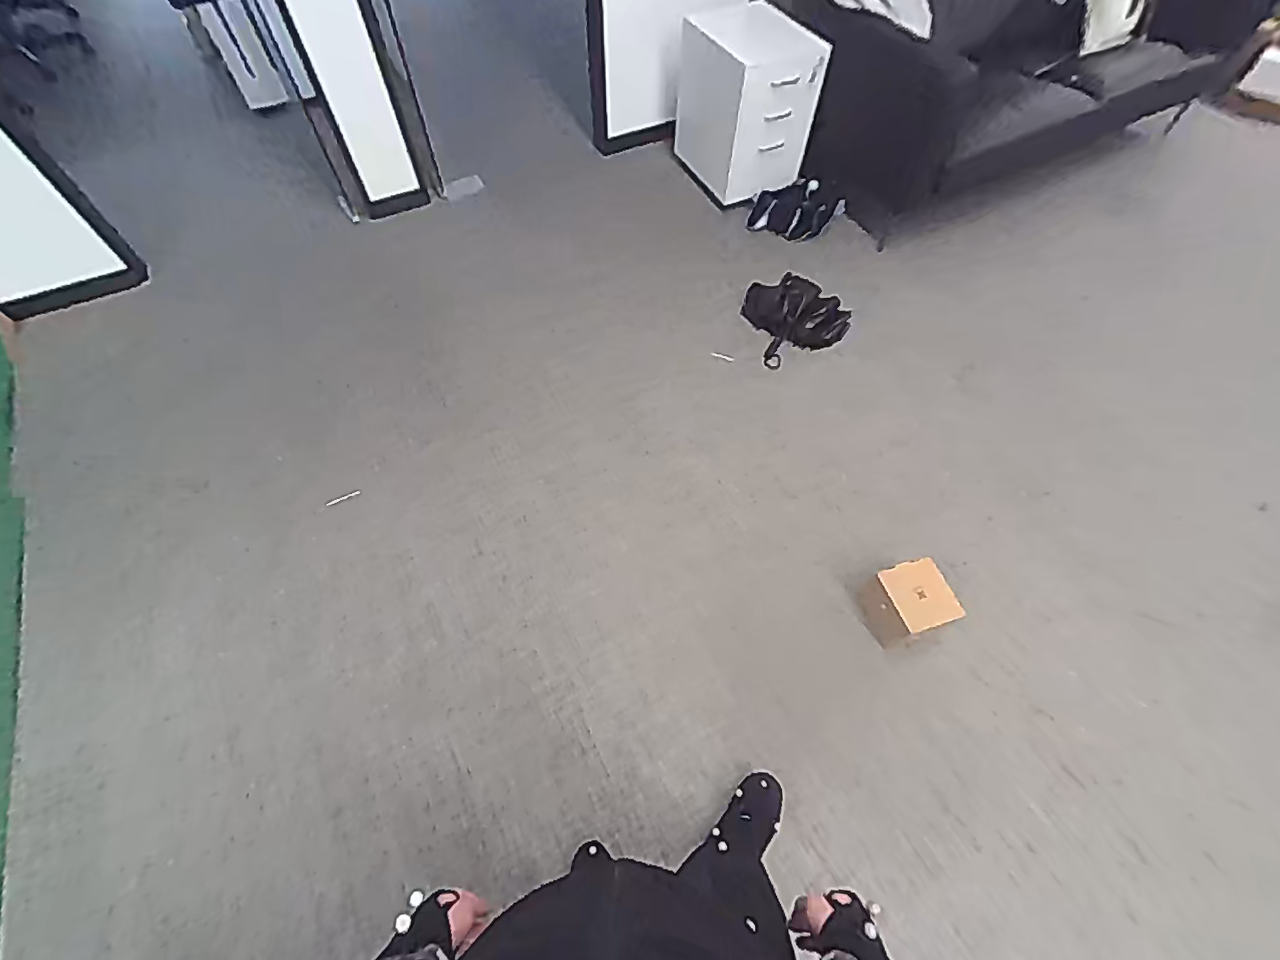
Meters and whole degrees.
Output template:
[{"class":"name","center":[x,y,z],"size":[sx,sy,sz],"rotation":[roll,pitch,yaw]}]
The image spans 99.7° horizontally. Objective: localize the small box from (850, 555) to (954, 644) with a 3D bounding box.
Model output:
[{"class":"small box","center":[0.720,0.337,1.513],"size":[0.168,0.176,0.179],"rotation":[-15,62,-9]}]
